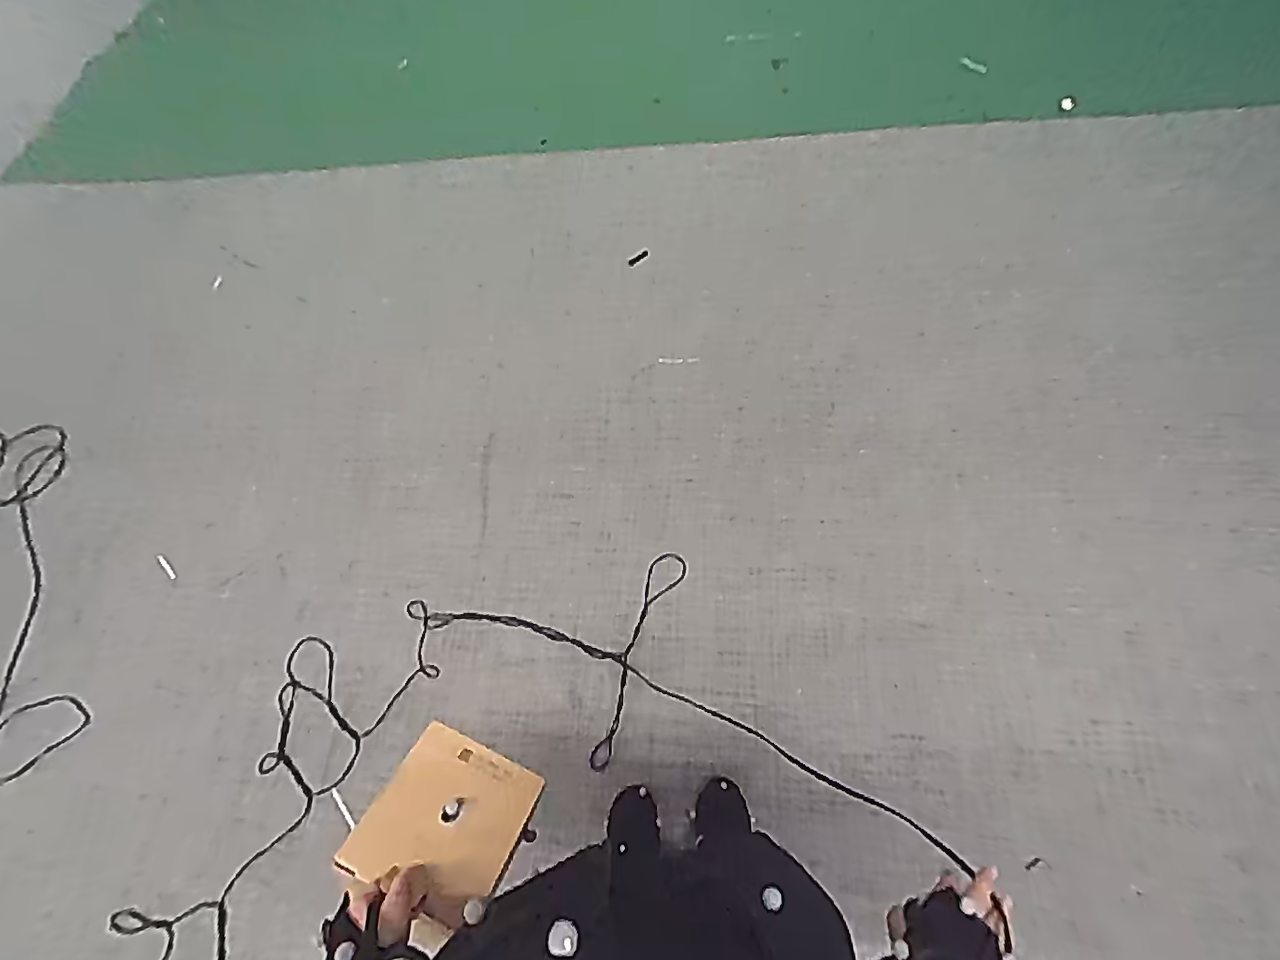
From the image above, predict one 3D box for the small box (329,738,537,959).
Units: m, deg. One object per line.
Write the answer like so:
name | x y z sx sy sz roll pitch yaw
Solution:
small box | -0.244 0.455 0.664 0.168 0.179 0.176 25 39 6
